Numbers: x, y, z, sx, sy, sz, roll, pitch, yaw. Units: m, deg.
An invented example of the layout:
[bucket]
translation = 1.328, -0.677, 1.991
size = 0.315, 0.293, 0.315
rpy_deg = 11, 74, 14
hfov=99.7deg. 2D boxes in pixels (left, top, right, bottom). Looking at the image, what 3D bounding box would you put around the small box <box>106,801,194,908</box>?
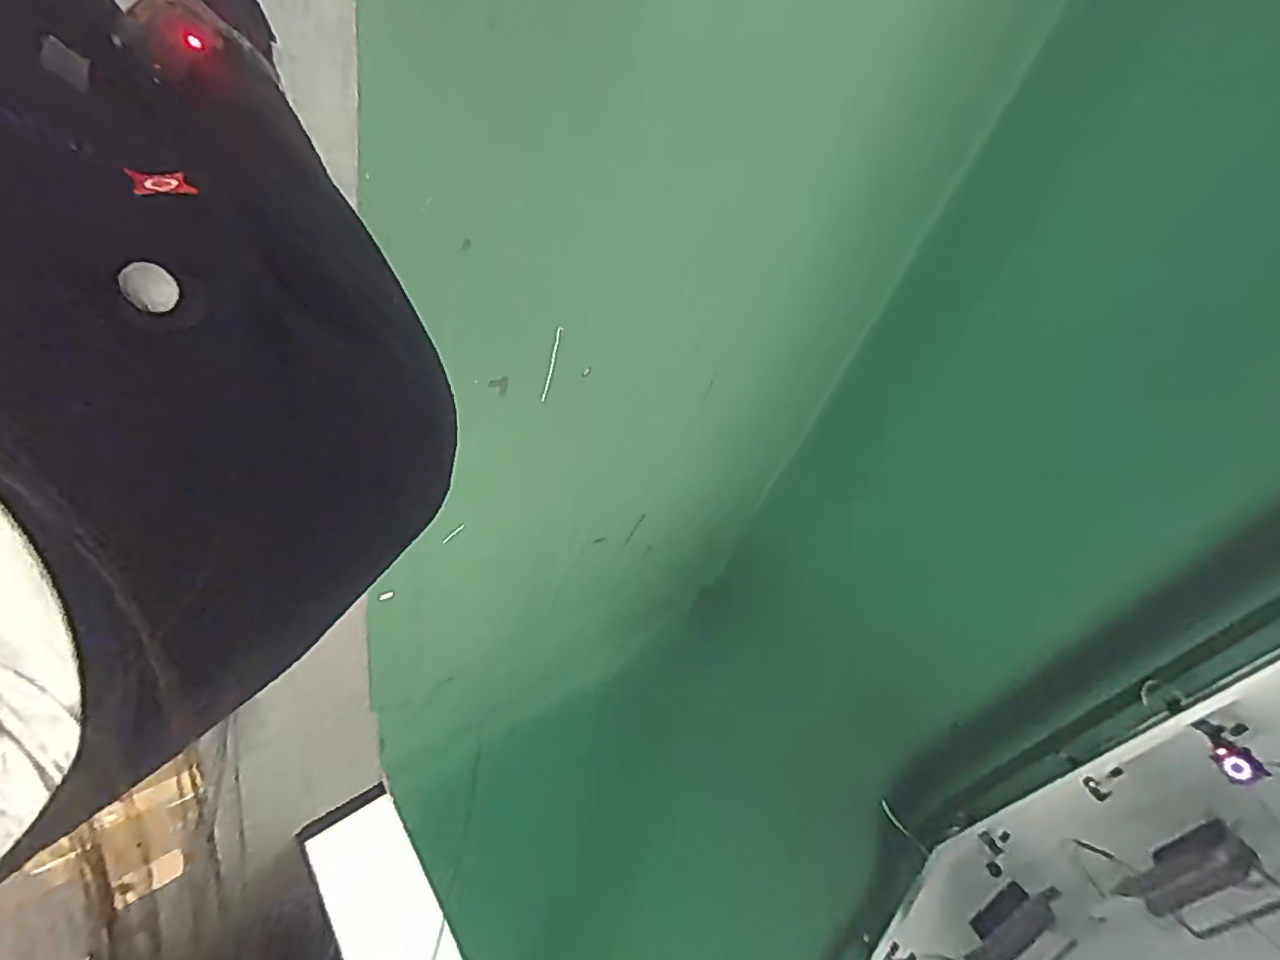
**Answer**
[small box]
translation = -1.492, 1.132, 1.647
size = 0.179, 0.176, 0.168
rpy_deg = -14, 135, -44
